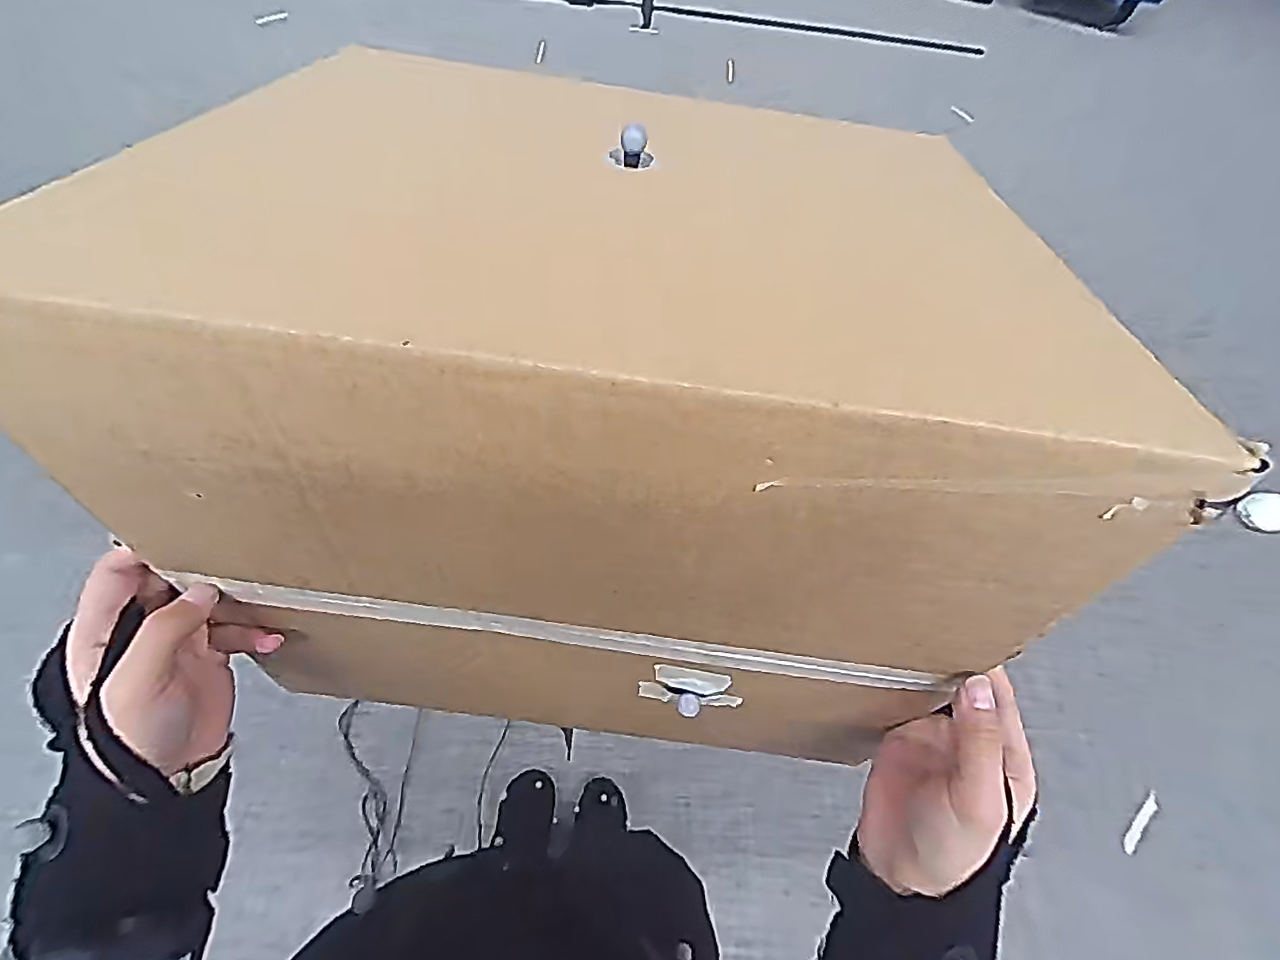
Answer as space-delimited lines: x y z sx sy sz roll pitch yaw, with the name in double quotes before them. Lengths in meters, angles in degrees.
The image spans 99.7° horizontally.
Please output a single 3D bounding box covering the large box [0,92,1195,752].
"large box" -0.022 -0.037 0.379 0.408 0.320 0.320 7 49 -1
